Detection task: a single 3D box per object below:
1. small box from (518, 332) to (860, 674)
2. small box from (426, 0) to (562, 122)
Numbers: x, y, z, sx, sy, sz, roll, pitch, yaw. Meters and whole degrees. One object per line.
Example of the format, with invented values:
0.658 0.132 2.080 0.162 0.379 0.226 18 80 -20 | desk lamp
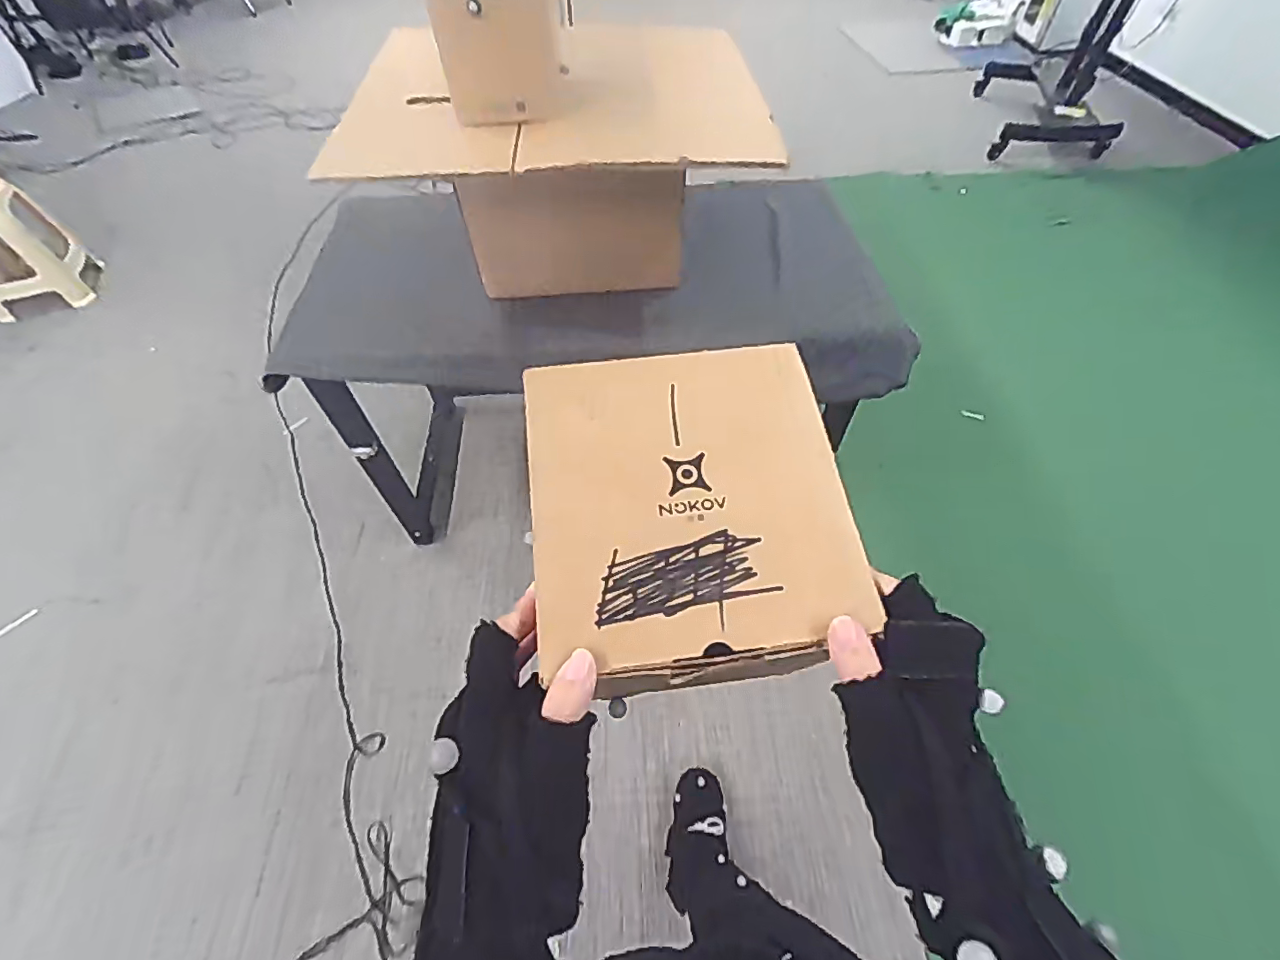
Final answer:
0.018 0.029 0.365 0.168 0.176 0.179 -6 65 -4 | small box
-0.214 -0.679 0.831 0.168 0.176 0.179 -4 54 -1 | small box
